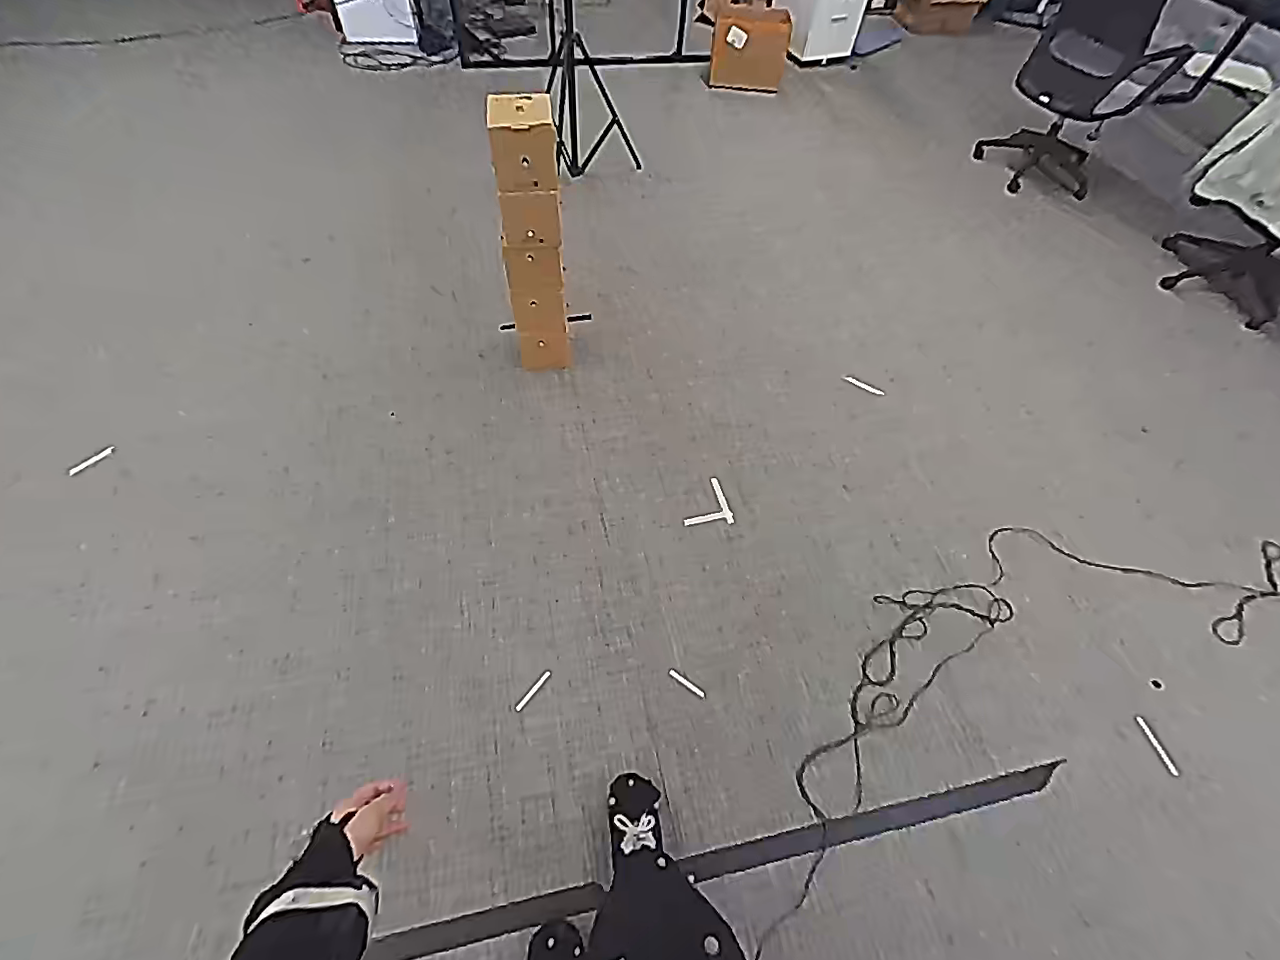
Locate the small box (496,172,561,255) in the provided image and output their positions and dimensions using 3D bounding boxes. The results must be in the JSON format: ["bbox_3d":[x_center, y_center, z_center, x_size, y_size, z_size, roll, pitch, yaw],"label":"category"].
[{"bbox_3d":[-0.326,-0.793,1.603,0.168,0.176,0.179,-4,58,-5],"label":"small box"}]

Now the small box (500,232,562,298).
[{"bbox_3d":[-0.346,-0.703,1.740,0.179,0.176,0.168,-3,58,-6],"label":"small box"}]

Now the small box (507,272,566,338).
[{"bbox_3d":[-0.352,-0.607,1.870,0.179,0.176,0.168,-1,57,-4],"label":"small box"}]

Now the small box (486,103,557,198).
[{"bbox_3d":[-0.320,-0.891,1.471,0.168,0.176,0.179,-5,58,-6],"label":"small box"}]

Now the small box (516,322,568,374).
[{"bbox_3d":[-0.358,-0.509,2.002,0.179,0.176,0.168,-3,57,-5],"label":"small box"}]
